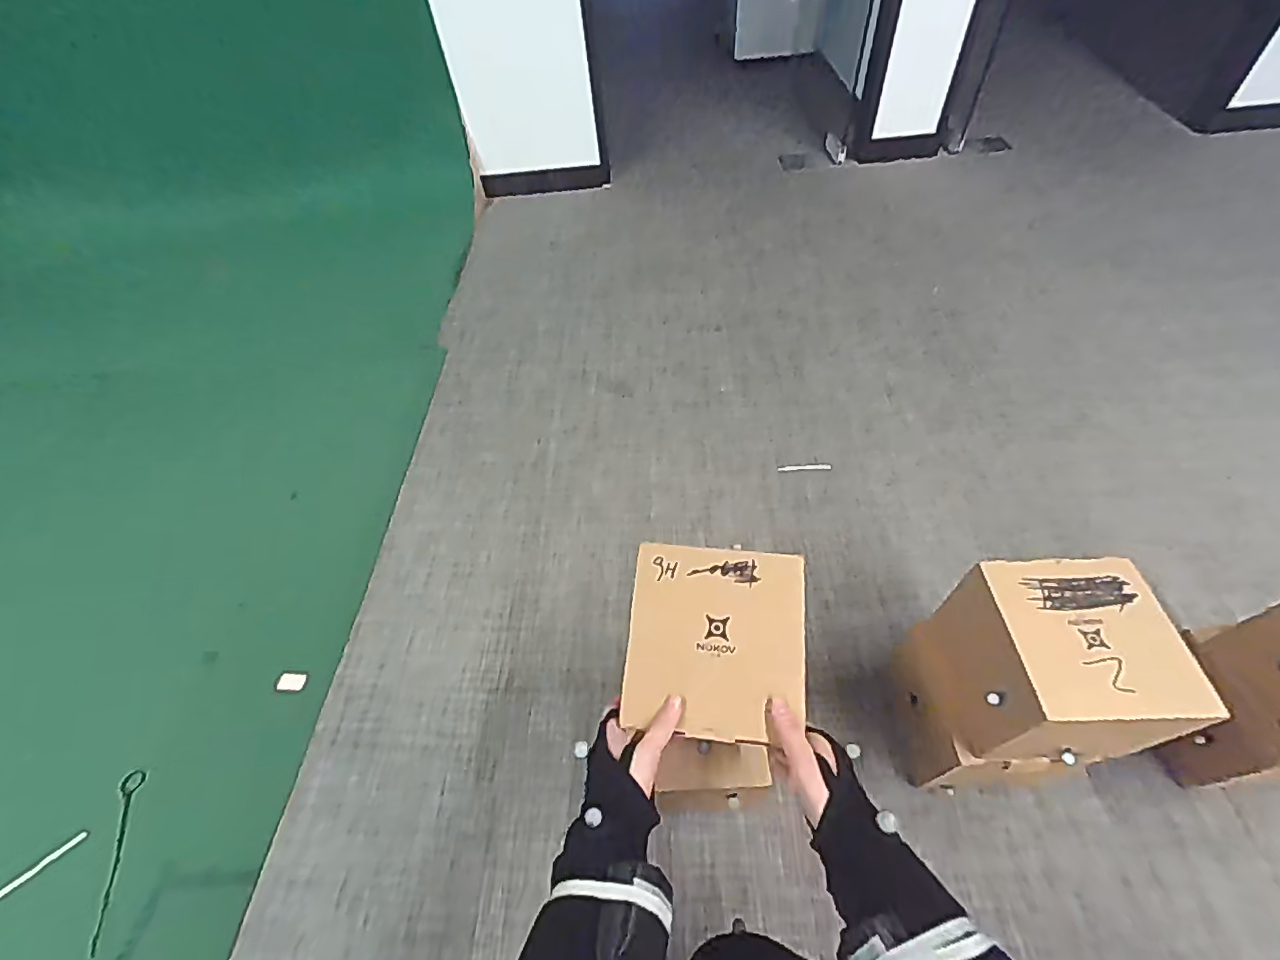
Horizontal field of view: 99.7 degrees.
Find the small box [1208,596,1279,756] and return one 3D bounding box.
[{"bbox_3d":[0.799,0.215,0.591,0.179,0.176,0.168,-9,52,-2],"label":"small box"}]

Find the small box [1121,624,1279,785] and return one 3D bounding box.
[{"bbox_3d":[0.810,0.302,0.728,0.179,0.176,0.168,-5,53,1],"label":"small box"}]

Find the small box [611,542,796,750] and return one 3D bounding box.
[{"bbox_3d":[0.071,0.177,0.584,0.168,0.176,0.179,4,69,7],"label":"small box"}]

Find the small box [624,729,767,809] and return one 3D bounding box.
[{"bbox_3d":[0.071,0.358,0.765,0.179,0.176,0.168,-4,51,3],"label":"small box"}]
